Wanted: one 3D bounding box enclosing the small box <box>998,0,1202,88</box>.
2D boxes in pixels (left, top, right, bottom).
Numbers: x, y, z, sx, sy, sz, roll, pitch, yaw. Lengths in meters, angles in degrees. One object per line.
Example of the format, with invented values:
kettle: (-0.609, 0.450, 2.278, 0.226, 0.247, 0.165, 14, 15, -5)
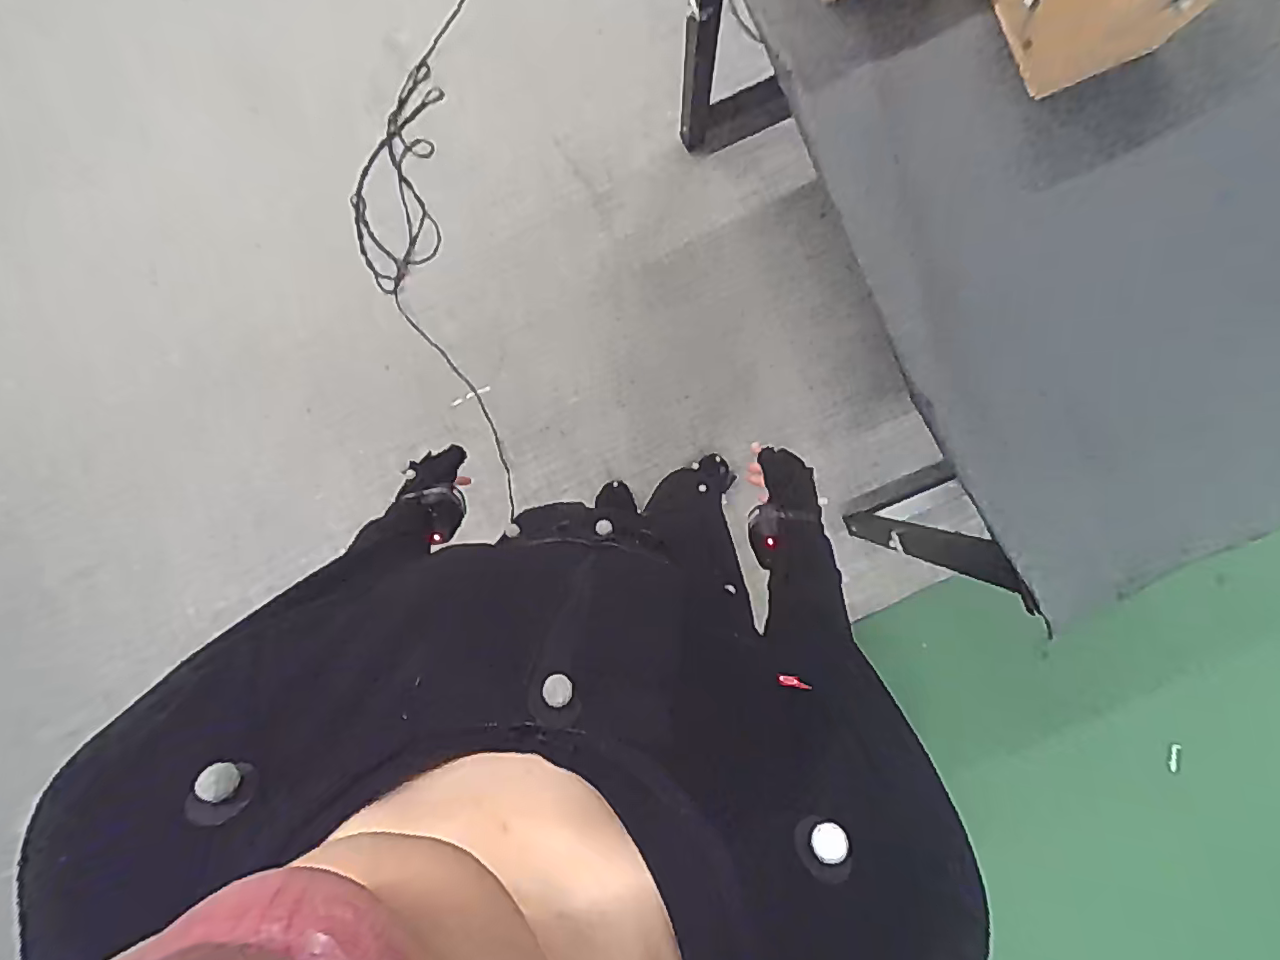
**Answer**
small box: (0.564, -0.613, 0.627, 0.179, 0.176, 0.168, -22, 92, 3)
